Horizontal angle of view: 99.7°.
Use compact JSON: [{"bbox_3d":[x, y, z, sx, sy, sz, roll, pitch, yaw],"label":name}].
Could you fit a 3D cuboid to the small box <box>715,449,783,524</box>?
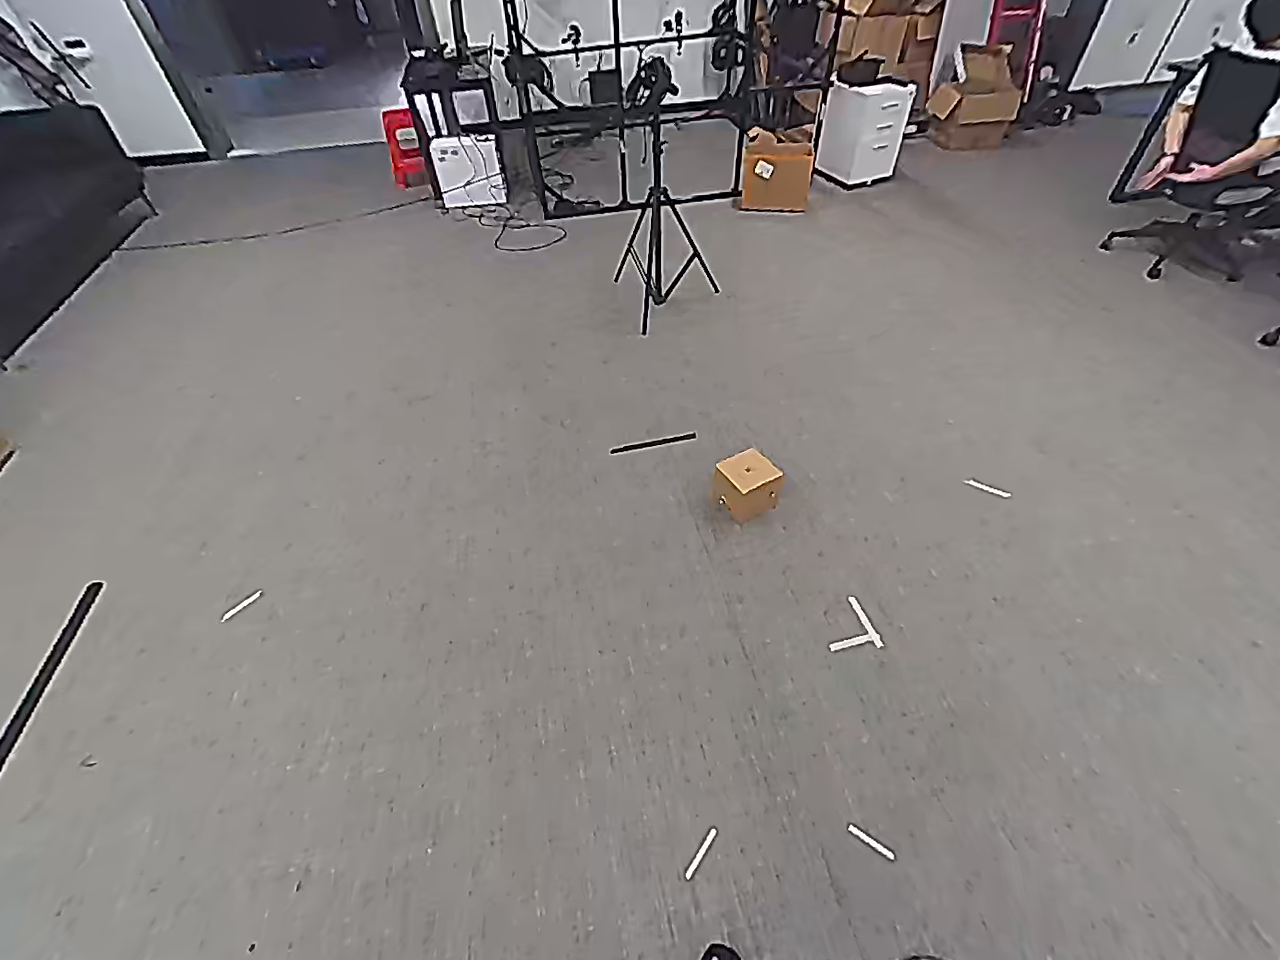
[{"bbox_3d":[0.381,0.025,1.931,0.179,0.176,0.168,-25,50,-19],"label":"small box"}]
